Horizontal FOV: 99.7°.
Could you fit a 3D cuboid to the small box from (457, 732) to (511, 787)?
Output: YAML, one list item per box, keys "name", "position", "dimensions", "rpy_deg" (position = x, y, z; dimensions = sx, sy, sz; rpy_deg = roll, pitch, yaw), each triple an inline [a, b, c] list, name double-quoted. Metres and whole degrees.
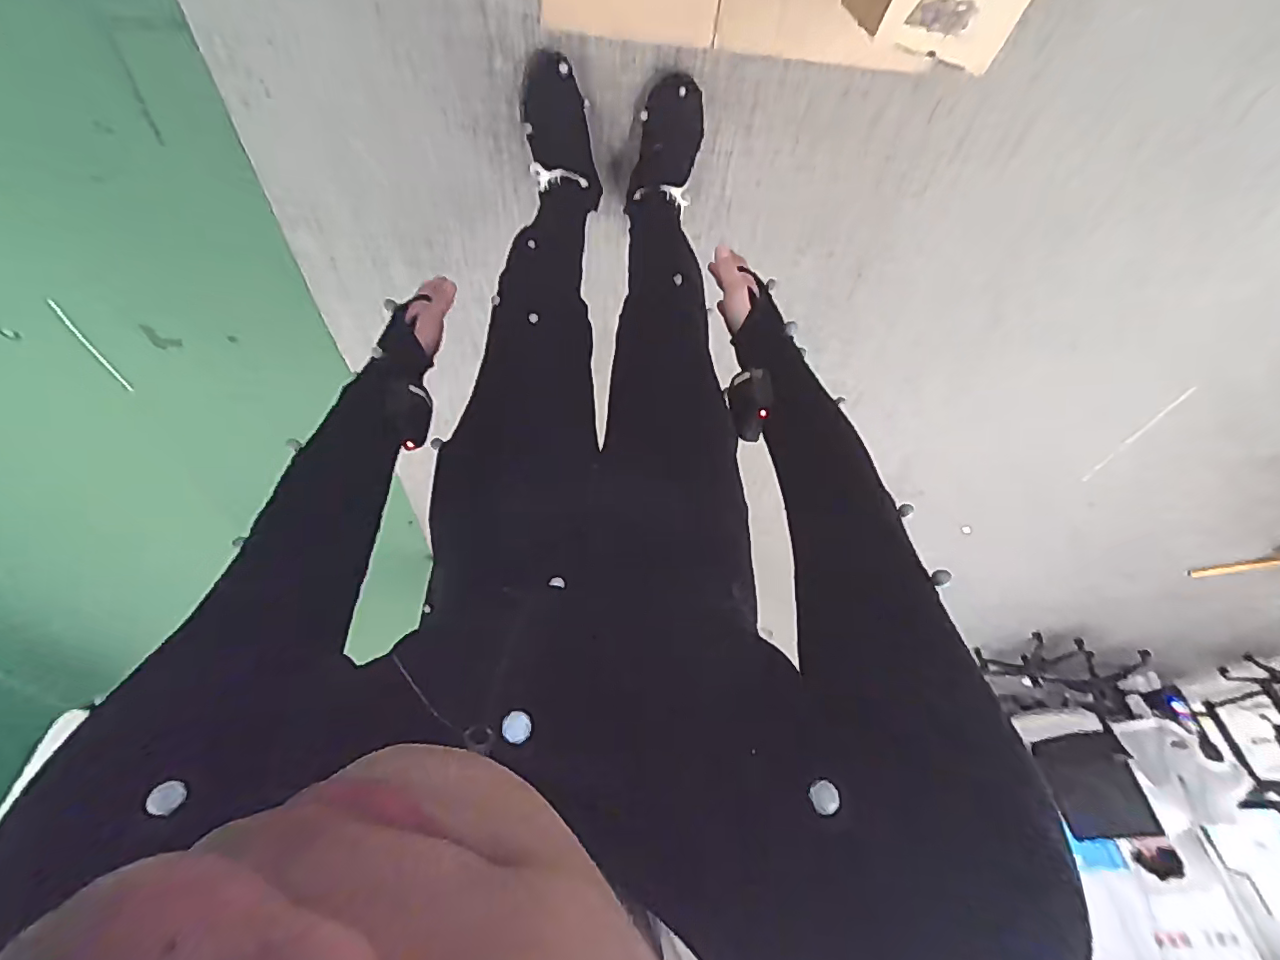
- name: "small box"
  position: [-0.586, 1.065, 2.056]
  dimensions: [0.168, 0.176, 0.179]
  rpy_deg: [2, 145, -6]

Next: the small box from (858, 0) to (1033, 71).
- name: "small box"
  position: [0.388, -0.651, 0.659]
  dimensions: [0.168, 0.176, 0.179]
  rpy_deg: [8, 142, -12]
